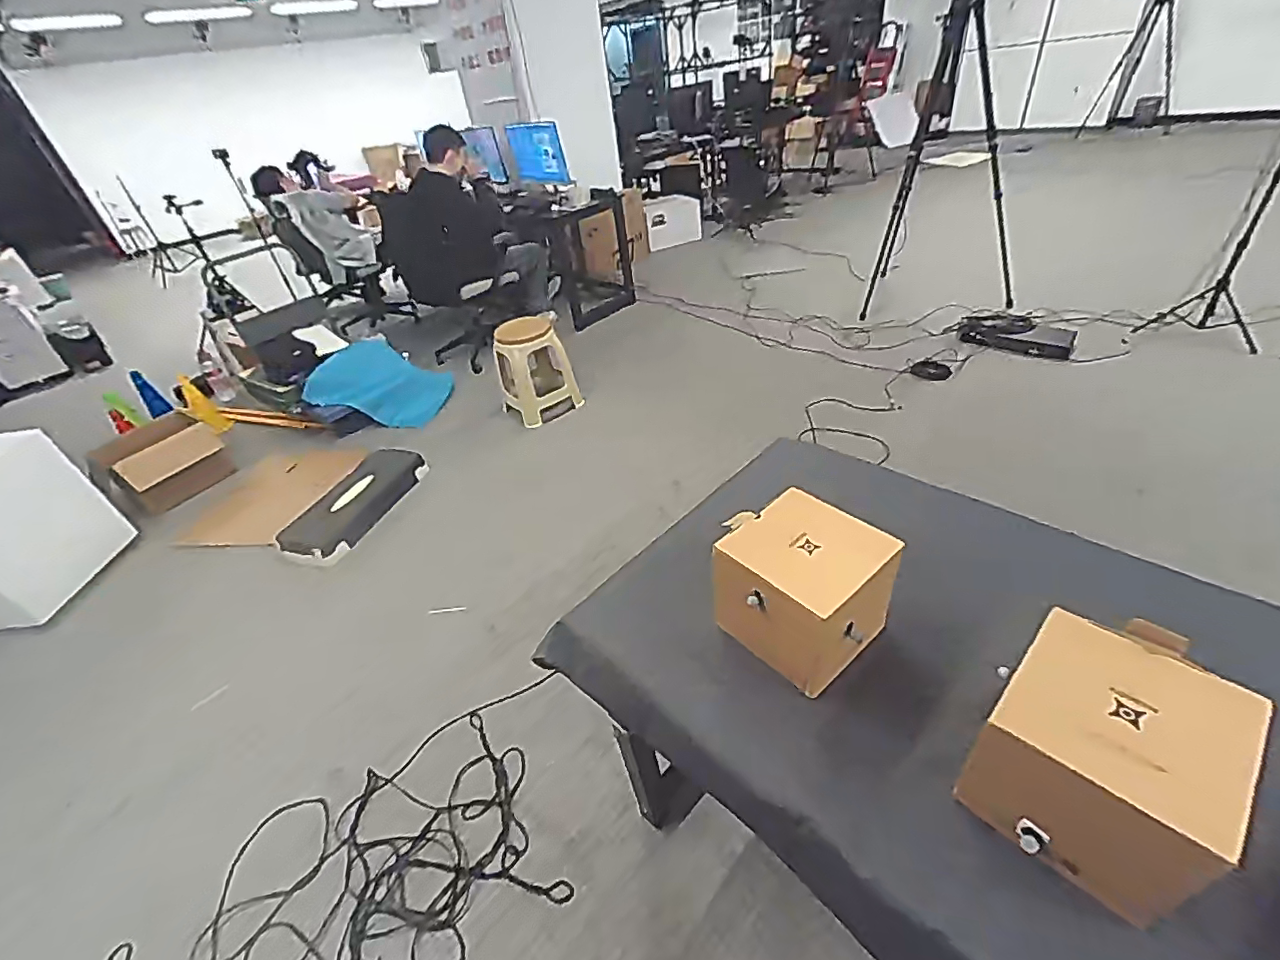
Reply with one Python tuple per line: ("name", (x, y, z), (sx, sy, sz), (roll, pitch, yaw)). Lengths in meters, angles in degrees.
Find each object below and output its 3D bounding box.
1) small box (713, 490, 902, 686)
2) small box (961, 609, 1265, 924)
("small box", (0.220, 0.149, 0.736), (0.168, 0.176, 0.179), (-31, 42, -27))
("small box", (0.443, 0.270, 0.529), (0.179, 0.176, 0.168), (-35, 43, -30))
